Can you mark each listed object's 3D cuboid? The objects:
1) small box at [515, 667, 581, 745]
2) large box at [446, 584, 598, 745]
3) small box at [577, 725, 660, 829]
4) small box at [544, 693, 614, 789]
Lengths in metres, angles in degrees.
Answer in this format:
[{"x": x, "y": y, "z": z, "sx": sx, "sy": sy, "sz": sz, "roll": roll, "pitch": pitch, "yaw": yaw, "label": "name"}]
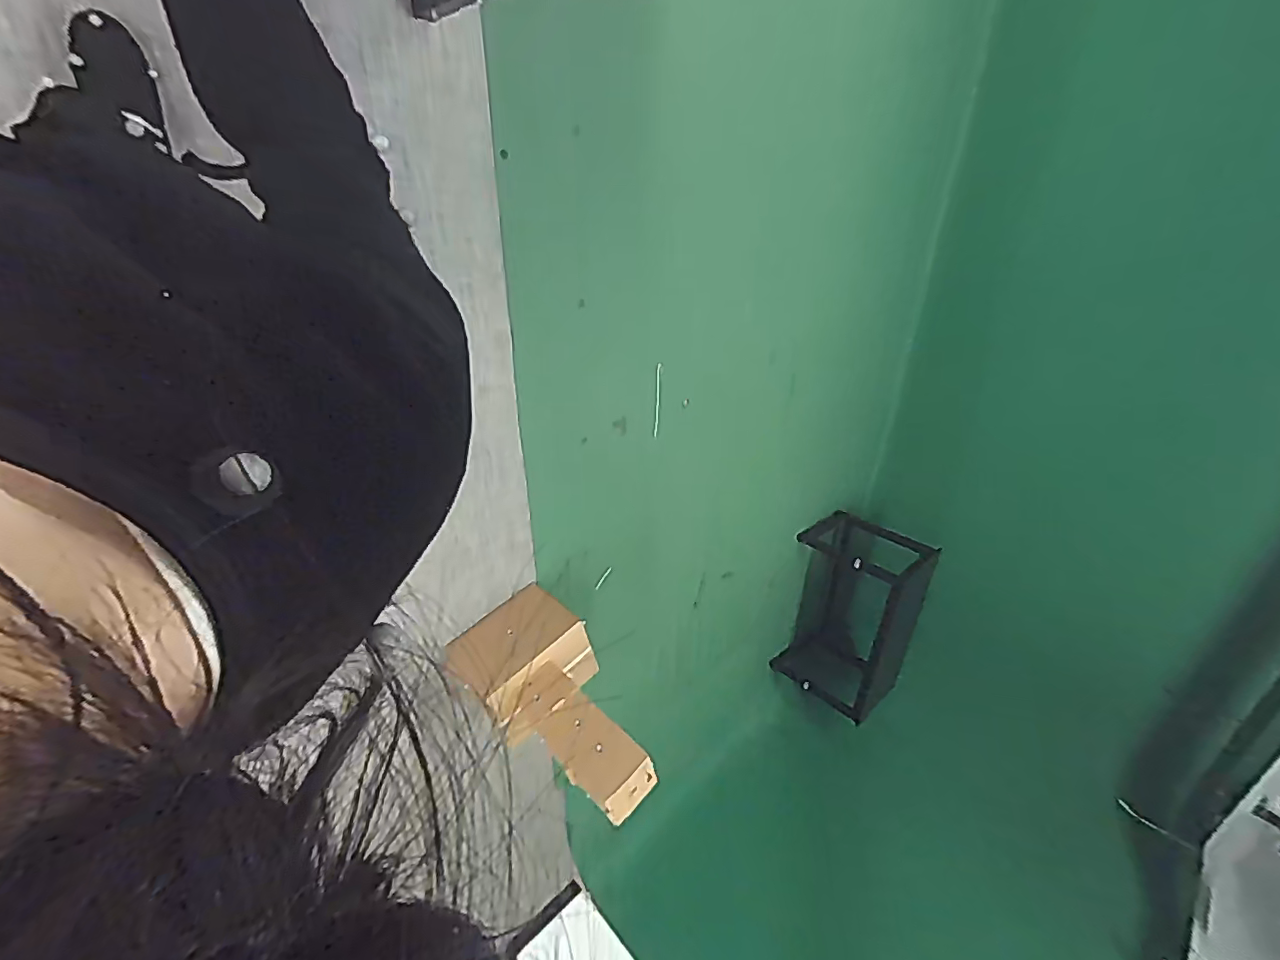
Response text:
[{"x": -0.295, "y": 0.764, "z": 1.822, "sx": 0.168, "sy": 0.176, "sz": 0.179, "roll": -35, "pitch": 132, "yaw": -29, "label": "small box"}, {"x": -0.430, "y": 0.670, "z": 2.008, "sx": 0.408, "sy": 0.320, "sz": 0.320, "roll": -37, "pitch": 134, "yaw": -30, "label": "large box"}, {"x": -0.070, "y": 0.879, "z": 1.613, "sx": 0.179, "sy": 0.176, "sz": 0.168, "roll": -35, "pitch": 132, "yaw": -28, "label": "small box"}, {"x": -0.185, "y": 0.823, "z": 1.717, "sx": 0.179, "sy": 0.176, "sz": 0.168, "roll": -37, "pitch": 132, "yaw": -29, "label": "small box"}]
